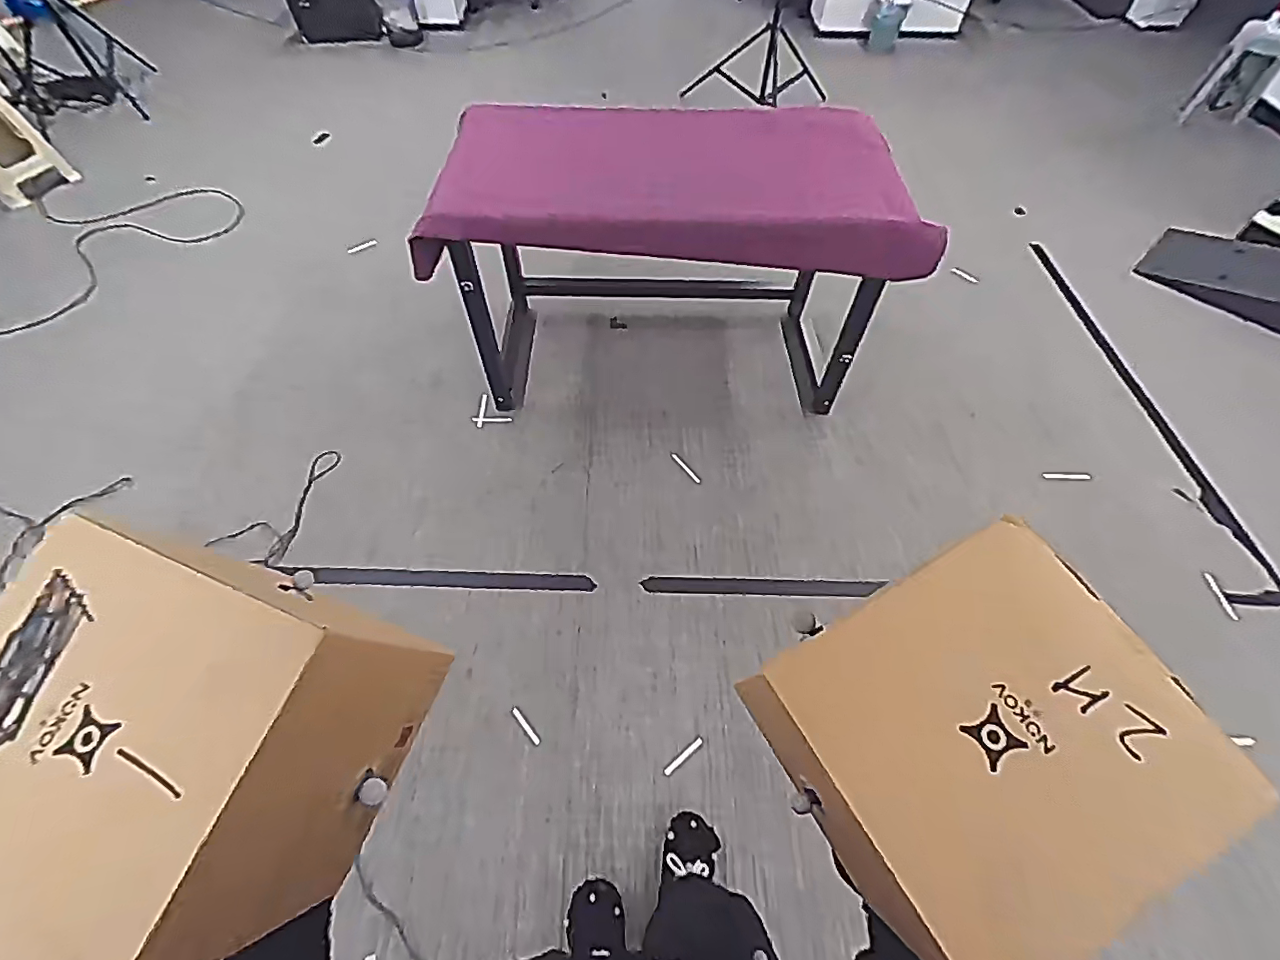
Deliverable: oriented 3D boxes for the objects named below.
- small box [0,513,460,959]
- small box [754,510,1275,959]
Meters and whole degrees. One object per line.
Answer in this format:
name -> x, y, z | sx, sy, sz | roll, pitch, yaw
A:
small box -> -0.245, 0.145, 0.328 | 0.179, 0.176, 0.168 | 19, 71, 11
small box -> 0.187, 0.152, 0.341 | 0.179, 0.176, 0.168 | -30, 69, -9
